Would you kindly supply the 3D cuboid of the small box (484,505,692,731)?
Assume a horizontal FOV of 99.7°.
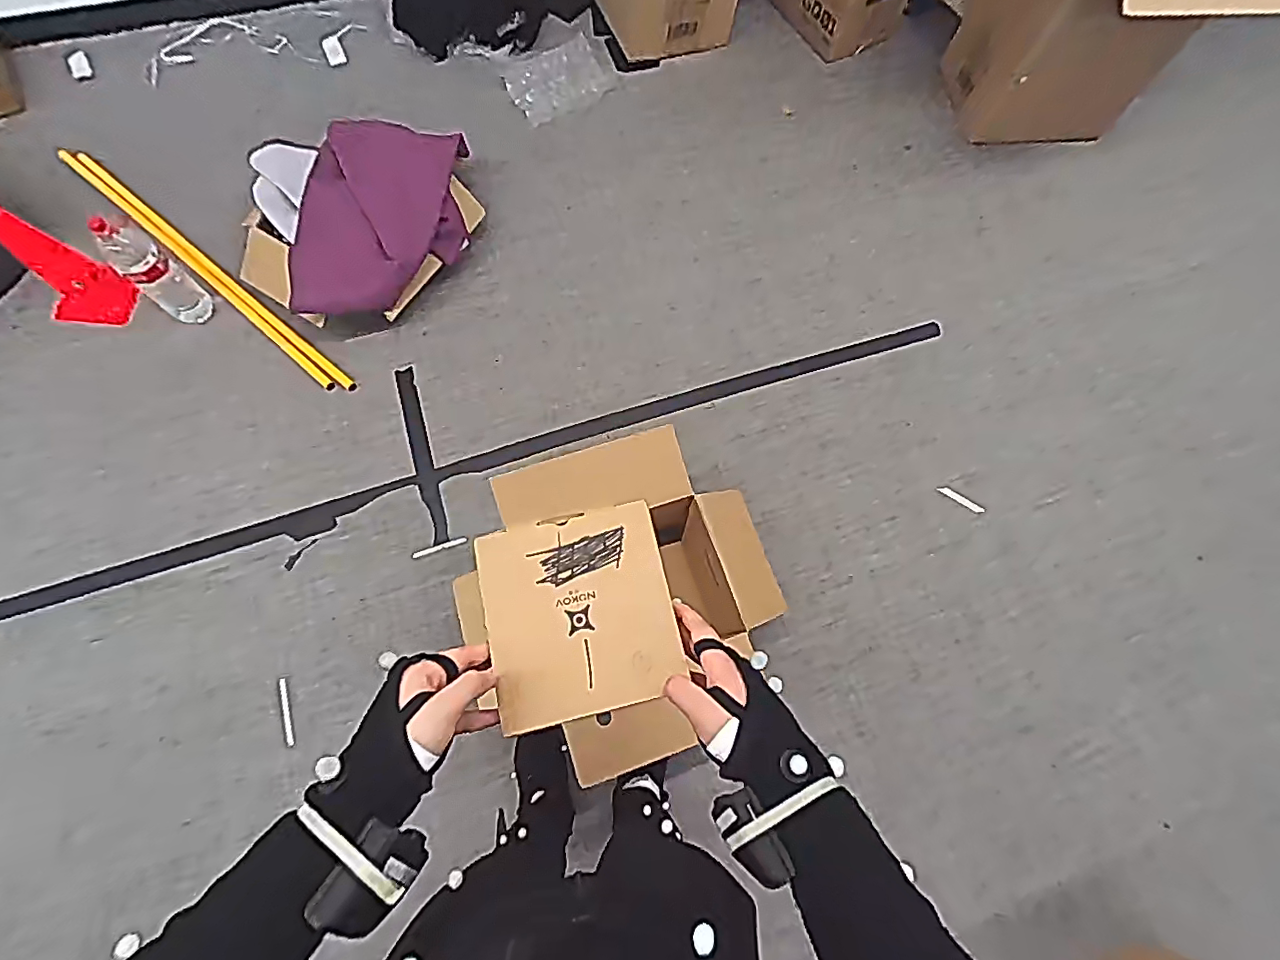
[{"bbox_3d":[-0.053,0.147,0.568,0.168,0.176,0.179,-13,71,-4],"label":"small box"}]
